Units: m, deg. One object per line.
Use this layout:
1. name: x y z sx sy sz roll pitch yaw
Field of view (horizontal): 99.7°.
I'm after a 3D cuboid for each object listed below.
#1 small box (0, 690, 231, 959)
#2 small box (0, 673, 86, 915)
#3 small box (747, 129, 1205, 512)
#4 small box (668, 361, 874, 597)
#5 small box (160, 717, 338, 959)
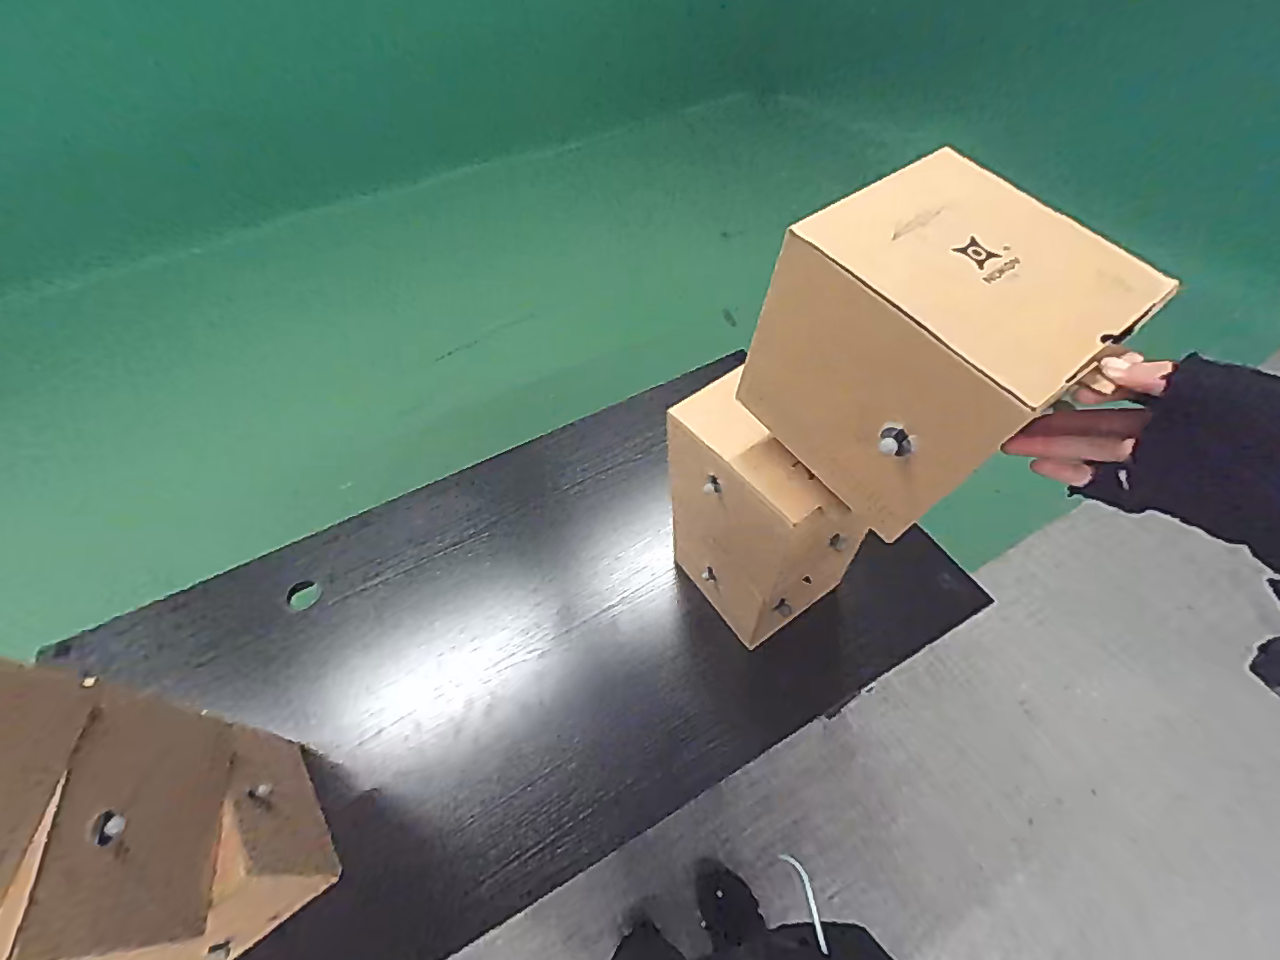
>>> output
1. small box: -0.461 0.291 0.418 0.168 0.176 0.179 -14 55 -7
2. small box: -0.474 0.193 0.287 0.168 0.176 0.179 -5 56 -2
3. small box: 0.204 -0.098 0.382 0.168 0.176 0.179 -33 67 -20
4. small box: 0.145 -0.007 0.586 0.168 0.176 0.179 -33 59 -18
5. small box: -0.450 0.384 0.553 0.168 0.176 0.179 -33 60 -19
